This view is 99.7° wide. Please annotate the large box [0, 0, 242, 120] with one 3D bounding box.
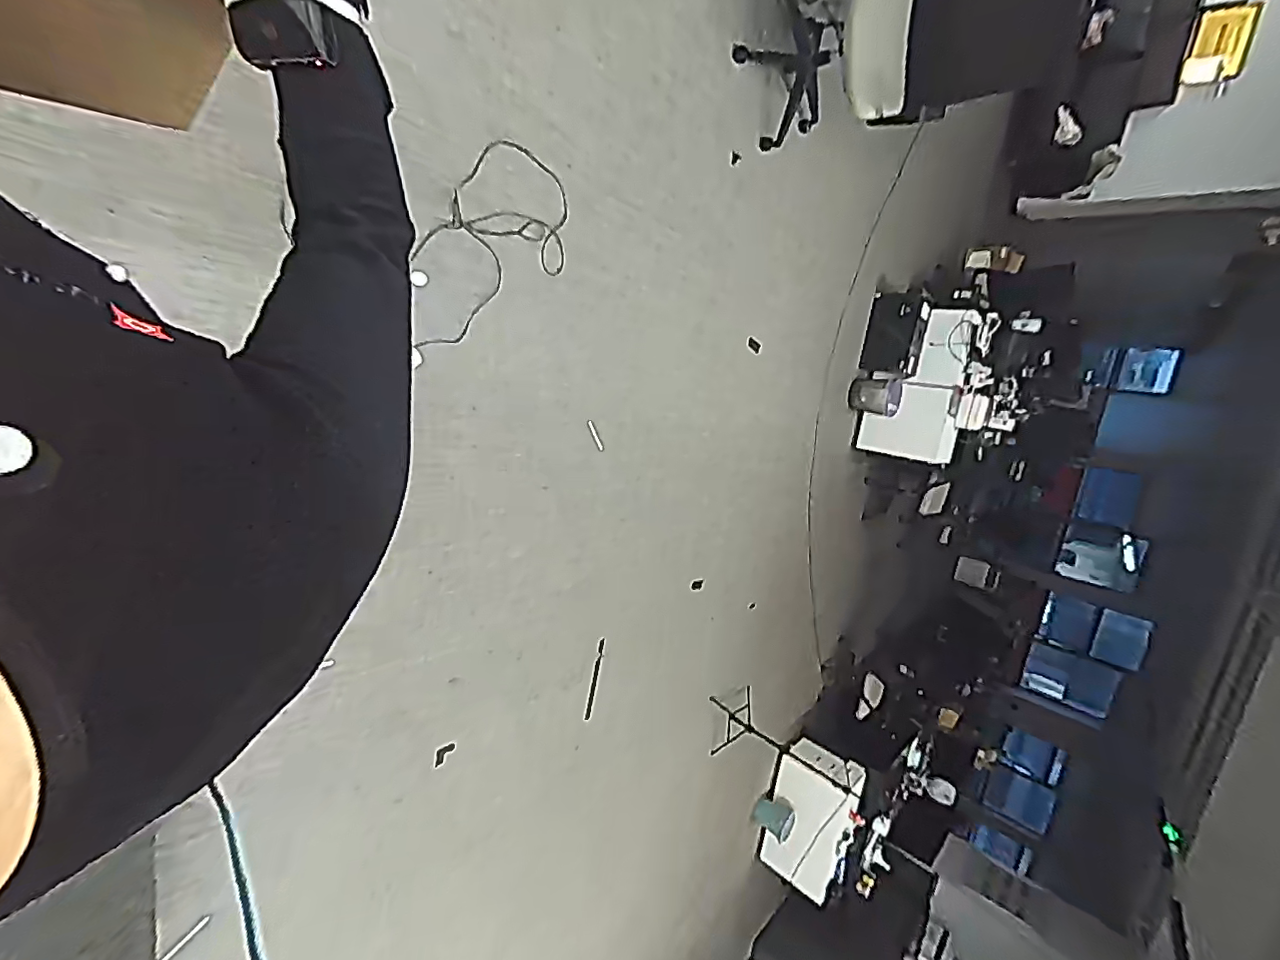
[{"bbox_3d":[-0.510,-0.463,0.295,0.408,0.320,0.320,-14,109,-45],"label":"large box"}]
